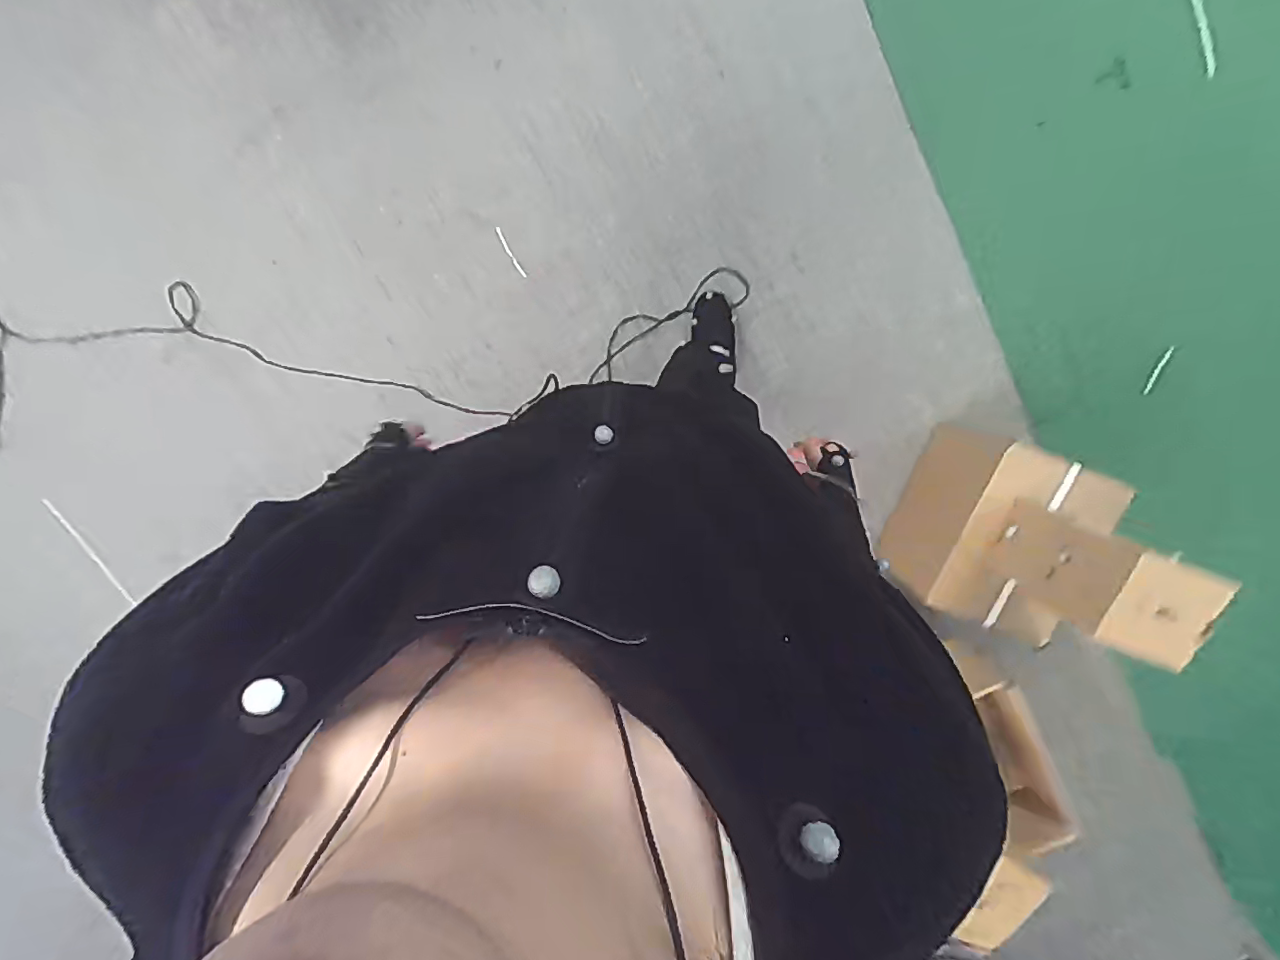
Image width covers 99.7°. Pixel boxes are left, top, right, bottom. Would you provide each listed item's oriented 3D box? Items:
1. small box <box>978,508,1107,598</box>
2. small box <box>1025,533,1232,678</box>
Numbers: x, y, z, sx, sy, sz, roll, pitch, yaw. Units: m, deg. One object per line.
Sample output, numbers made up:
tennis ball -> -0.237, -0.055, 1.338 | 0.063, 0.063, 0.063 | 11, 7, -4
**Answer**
small box -> 0.859, 0.175, 1.120 | 0.179, 0.176, 0.168 | 24, 101, -4
small box -> 0.850, 0.211, 0.962 | 0.179, 0.176, 0.168 | 22, 101, -4
